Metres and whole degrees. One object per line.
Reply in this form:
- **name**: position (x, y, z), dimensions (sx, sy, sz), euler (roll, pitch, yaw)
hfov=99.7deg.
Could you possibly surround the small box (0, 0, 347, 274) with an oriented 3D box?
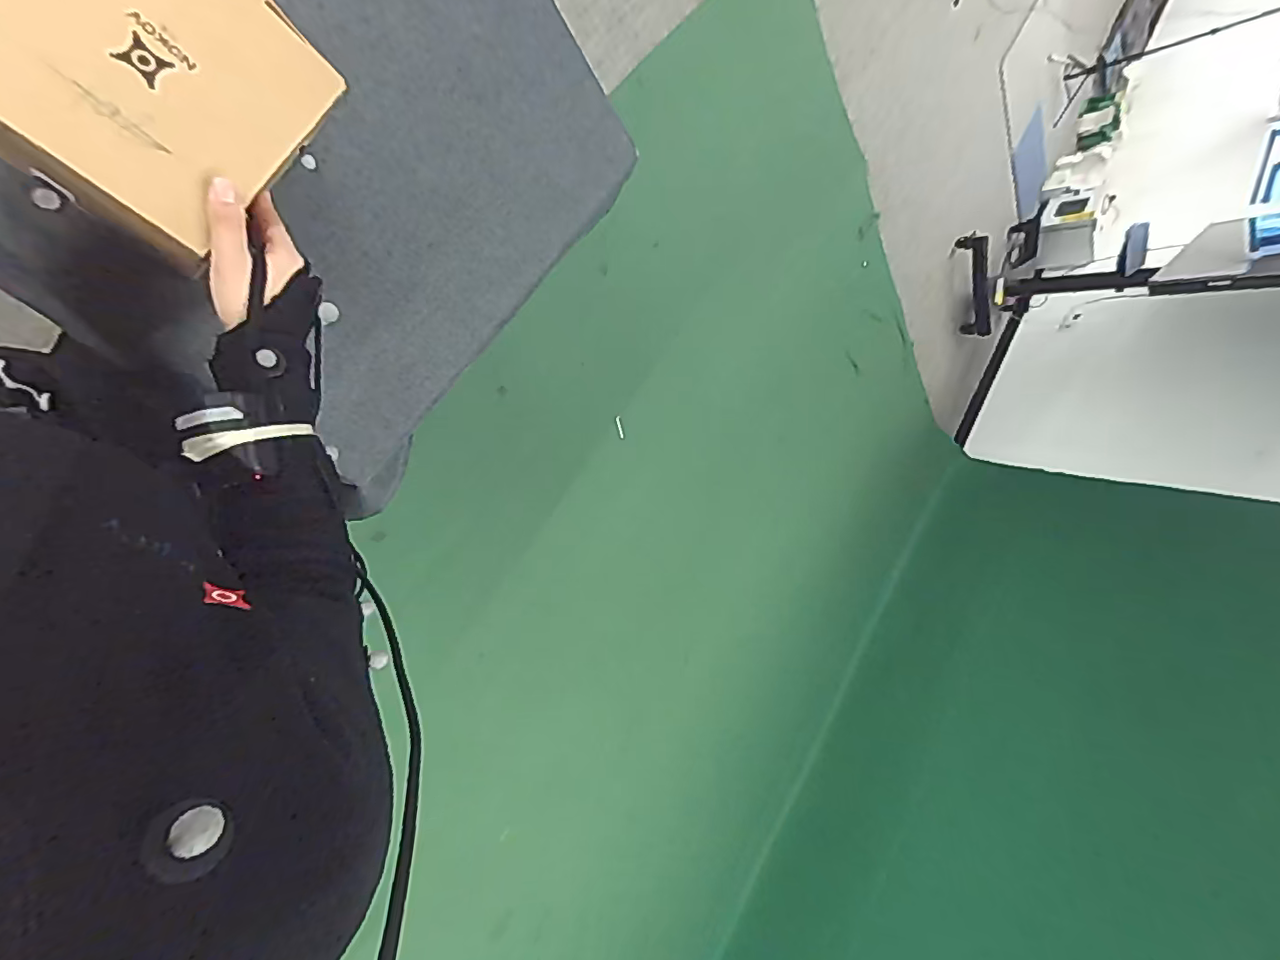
- **small box**: position (-0.361, -0.280, 0.400), dimensions (0.168, 0.176, 0.179), euler (38, 75, -40)
